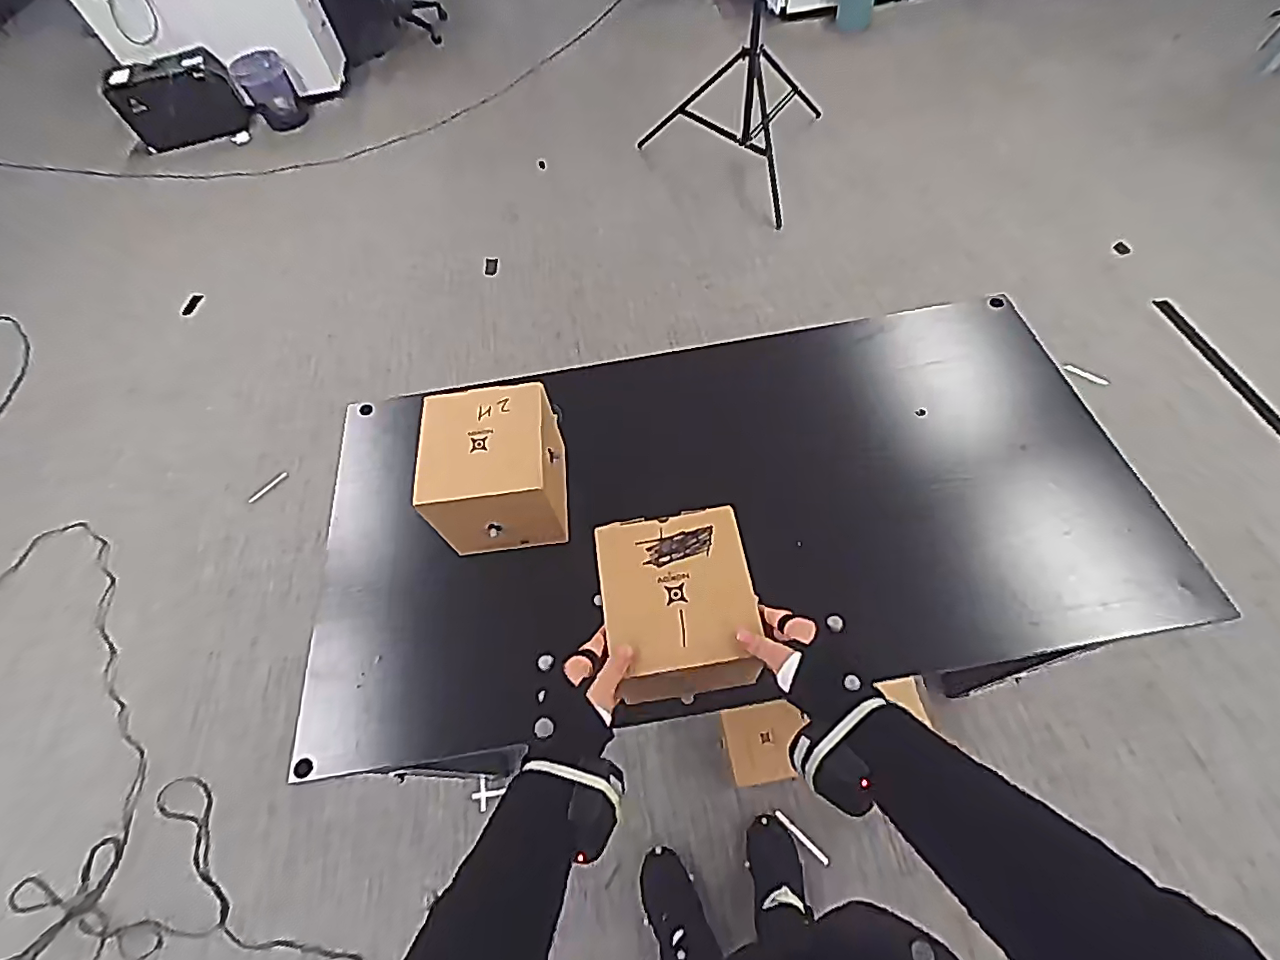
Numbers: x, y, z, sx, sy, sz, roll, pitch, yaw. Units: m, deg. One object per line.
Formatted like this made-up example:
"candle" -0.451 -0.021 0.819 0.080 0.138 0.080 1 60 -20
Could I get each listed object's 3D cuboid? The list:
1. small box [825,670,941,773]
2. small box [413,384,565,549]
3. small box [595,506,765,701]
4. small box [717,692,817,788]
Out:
"small box" 0.538 0.551 1.229 0.168 0.176 0.179 -11 59 0
"small box" -0.205 -0.010 0.783 0.168 0.176 0.179 -7 59 1
"small box" 0.043 0.156 0.662 0.168 0.176 0.179 -10 60 0
"small box" 0.279 0.595 1.231 0.179 0.176 0.168 -11 58 0
